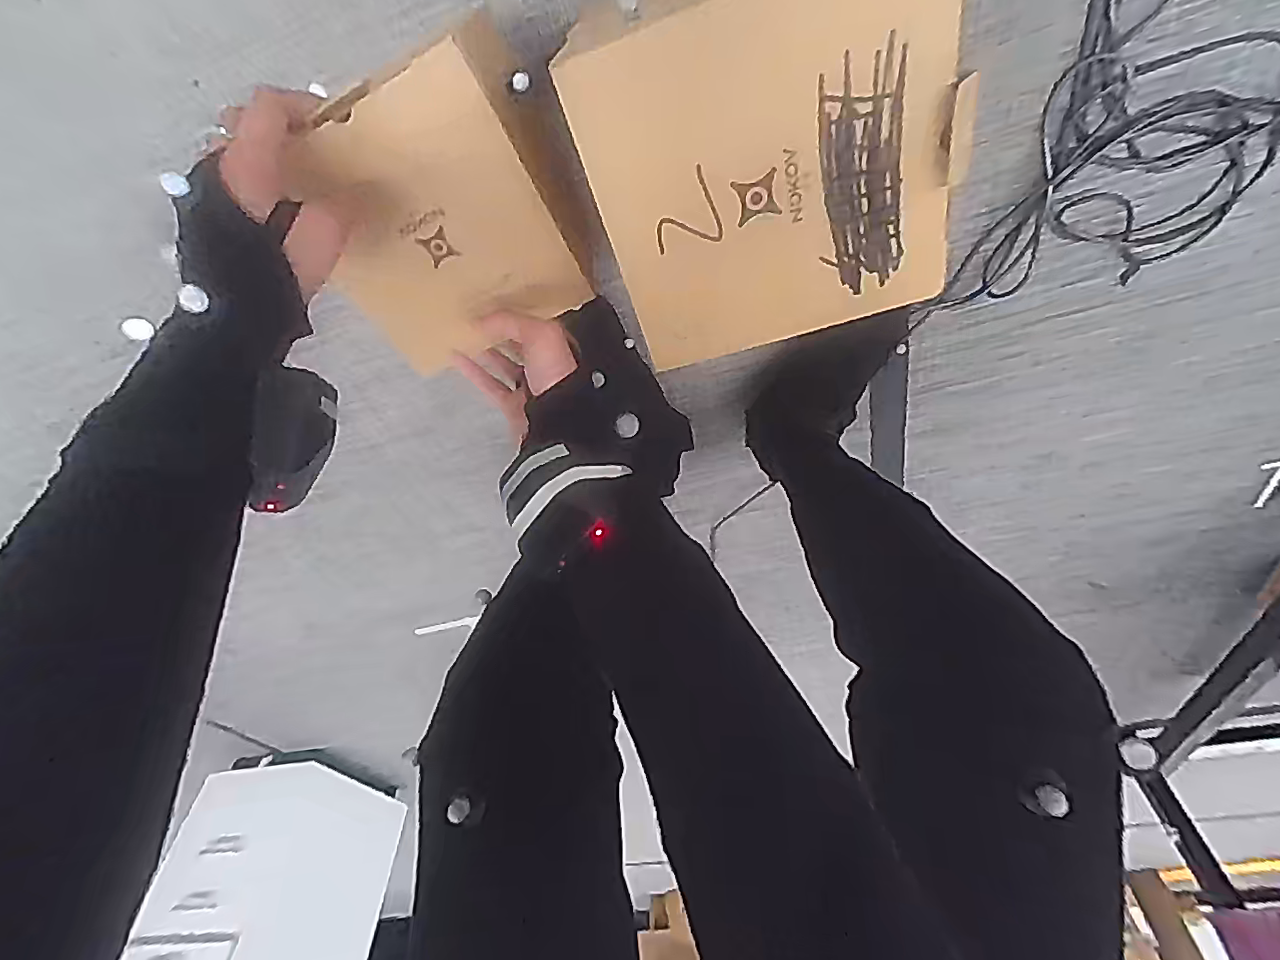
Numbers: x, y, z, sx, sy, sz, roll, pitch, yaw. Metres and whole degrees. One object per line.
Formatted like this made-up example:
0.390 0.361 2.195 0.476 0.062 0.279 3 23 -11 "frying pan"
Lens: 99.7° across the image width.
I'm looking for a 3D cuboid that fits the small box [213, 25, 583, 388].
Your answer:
-0.157 -0.211 0.418 0.168 0.176 0.179 -20 135 14 "small box"
